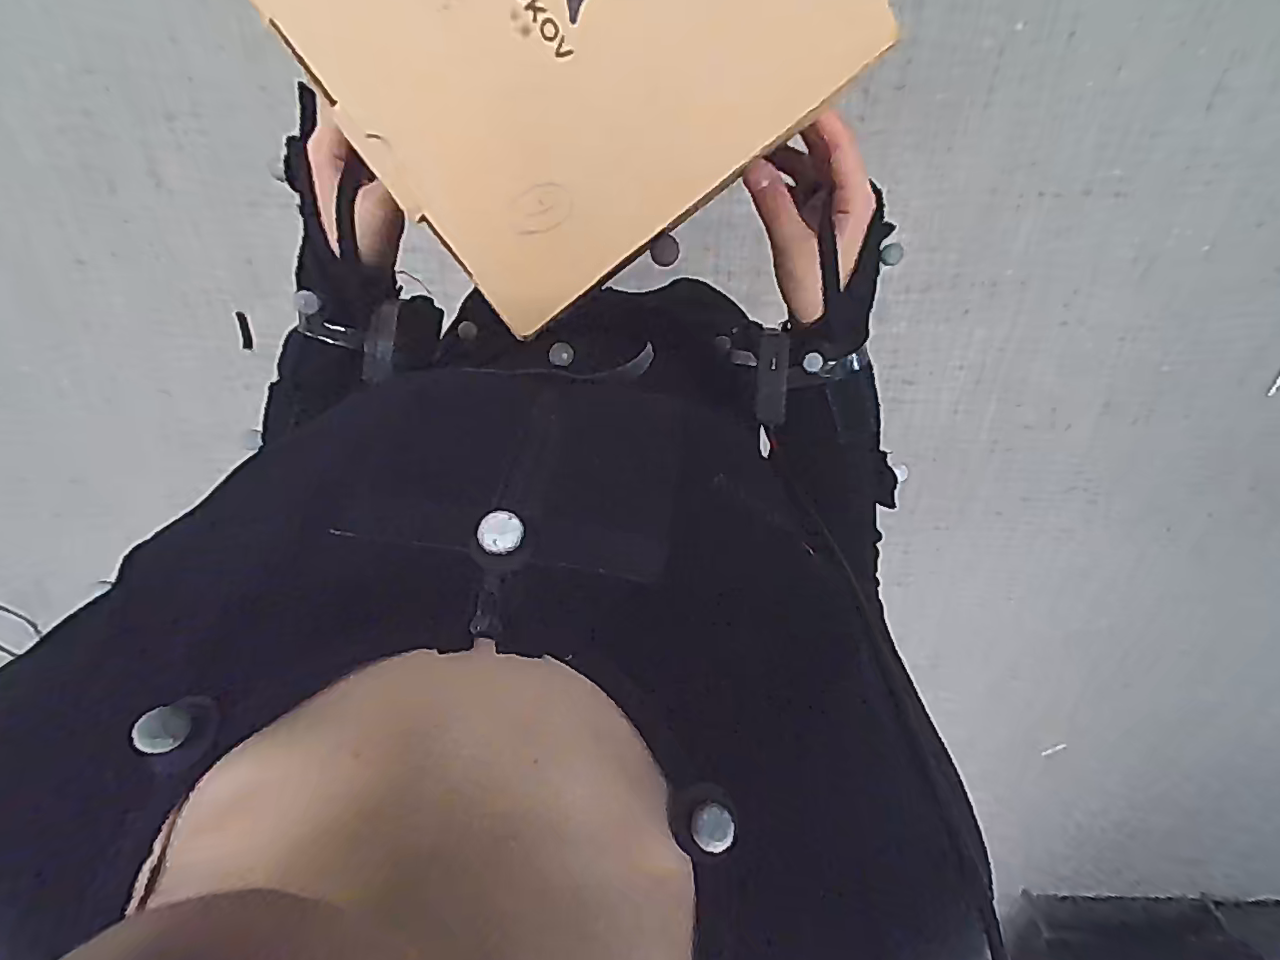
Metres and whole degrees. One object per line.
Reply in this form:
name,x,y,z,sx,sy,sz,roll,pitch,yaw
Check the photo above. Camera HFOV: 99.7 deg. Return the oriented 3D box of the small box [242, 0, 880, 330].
small box,-0.030,-0.196,0.256,0.179,0.176,0.168,-34,107,14
